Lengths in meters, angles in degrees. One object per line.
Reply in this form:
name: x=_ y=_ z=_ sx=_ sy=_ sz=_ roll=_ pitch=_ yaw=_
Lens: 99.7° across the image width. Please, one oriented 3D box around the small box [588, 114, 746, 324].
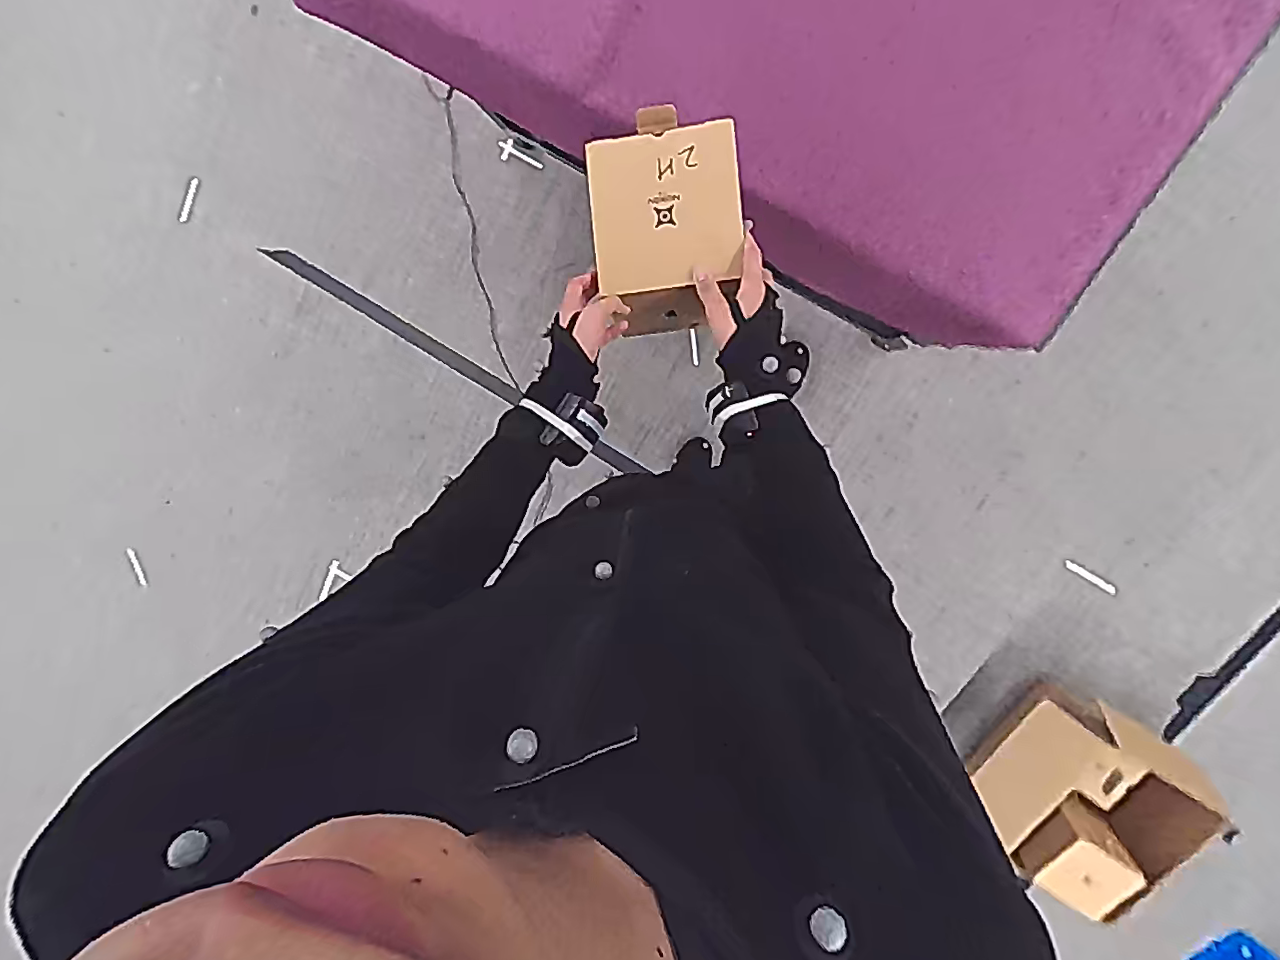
small box: x=0.039 y=-0.302 z=0.670 sx=0.168 sy=0.176 sz=0.179 roll=-5 pitch=89 yaw=6
